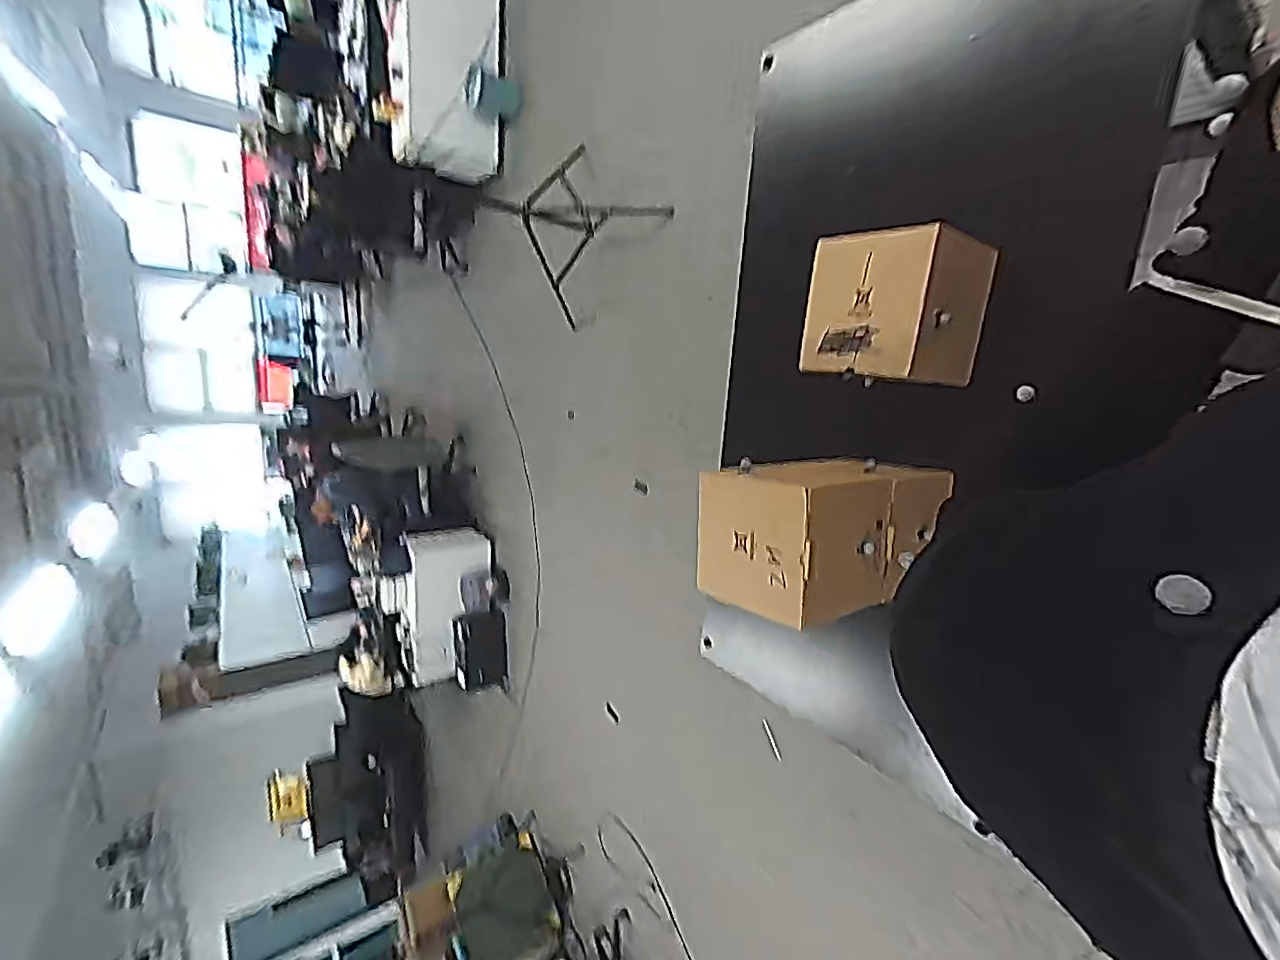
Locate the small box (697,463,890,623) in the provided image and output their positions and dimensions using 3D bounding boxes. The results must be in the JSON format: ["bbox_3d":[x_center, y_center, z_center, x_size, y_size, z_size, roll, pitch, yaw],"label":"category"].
[{"bbox_3d":[0.197,0.068,0.710,0.179,0.176,0.168,10,102,53],"label":"small box"}]

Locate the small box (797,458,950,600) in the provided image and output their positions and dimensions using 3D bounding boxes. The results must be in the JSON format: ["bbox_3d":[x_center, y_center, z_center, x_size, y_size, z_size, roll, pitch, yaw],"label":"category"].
[{"bbox_3d":[0.333,0.059,0.804,0.179,0.176,0.168,13,104,52],"label":"small box"}]

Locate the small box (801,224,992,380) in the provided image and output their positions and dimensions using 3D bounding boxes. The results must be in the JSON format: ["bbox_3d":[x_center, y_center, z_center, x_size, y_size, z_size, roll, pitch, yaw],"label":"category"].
[{"bbox_3d":[0.352,-0.234,0.746,0.168,0.176,0.179,21,110,51],"label":"small box"}]
